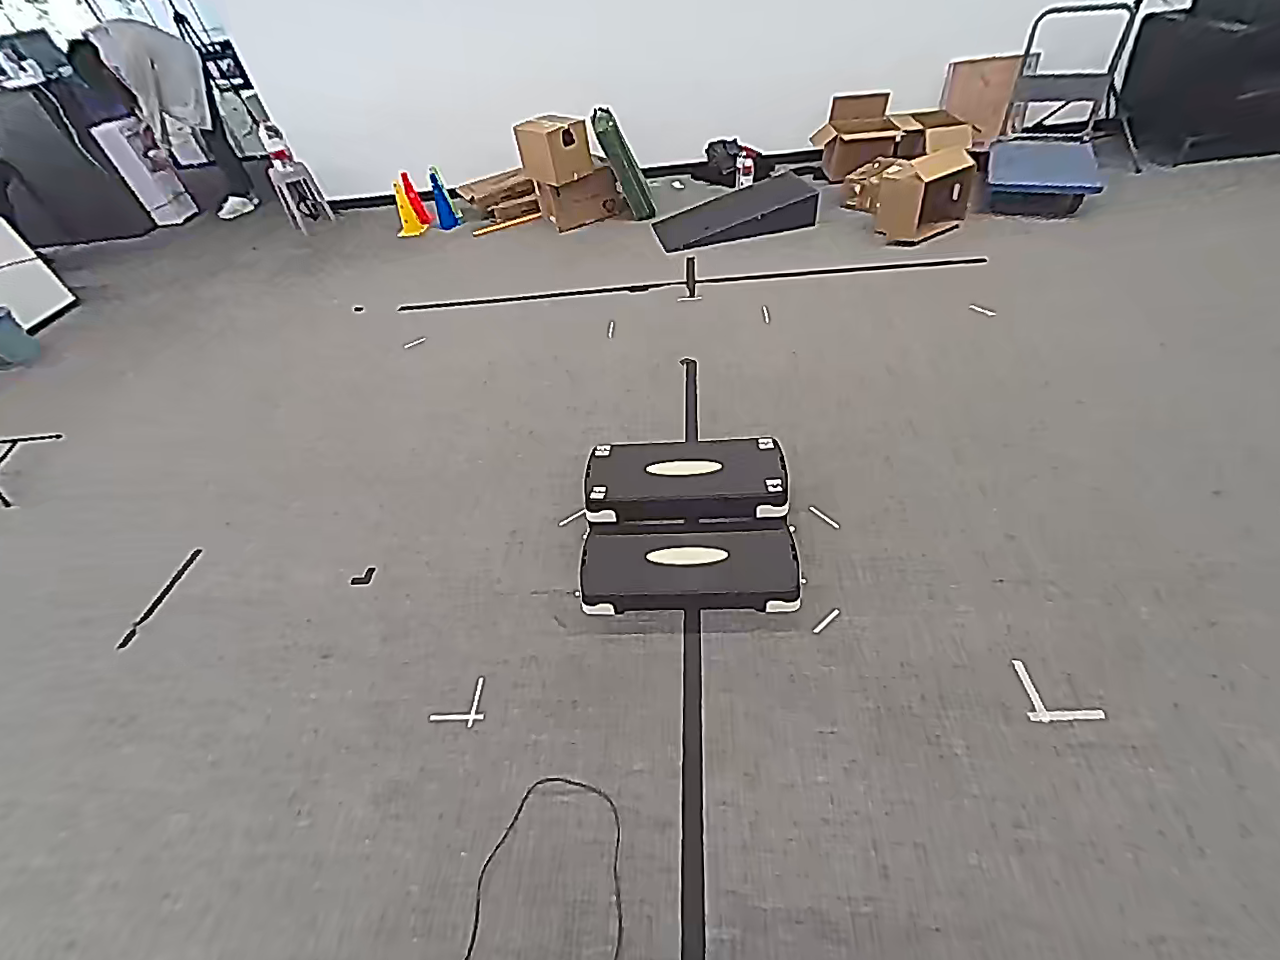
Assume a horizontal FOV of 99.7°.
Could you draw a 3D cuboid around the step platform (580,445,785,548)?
[{"bbox_3d":[0.139,0.051,1.843,0.684,0.204,0.286,-2,46,5],"label":"step platform"}]
